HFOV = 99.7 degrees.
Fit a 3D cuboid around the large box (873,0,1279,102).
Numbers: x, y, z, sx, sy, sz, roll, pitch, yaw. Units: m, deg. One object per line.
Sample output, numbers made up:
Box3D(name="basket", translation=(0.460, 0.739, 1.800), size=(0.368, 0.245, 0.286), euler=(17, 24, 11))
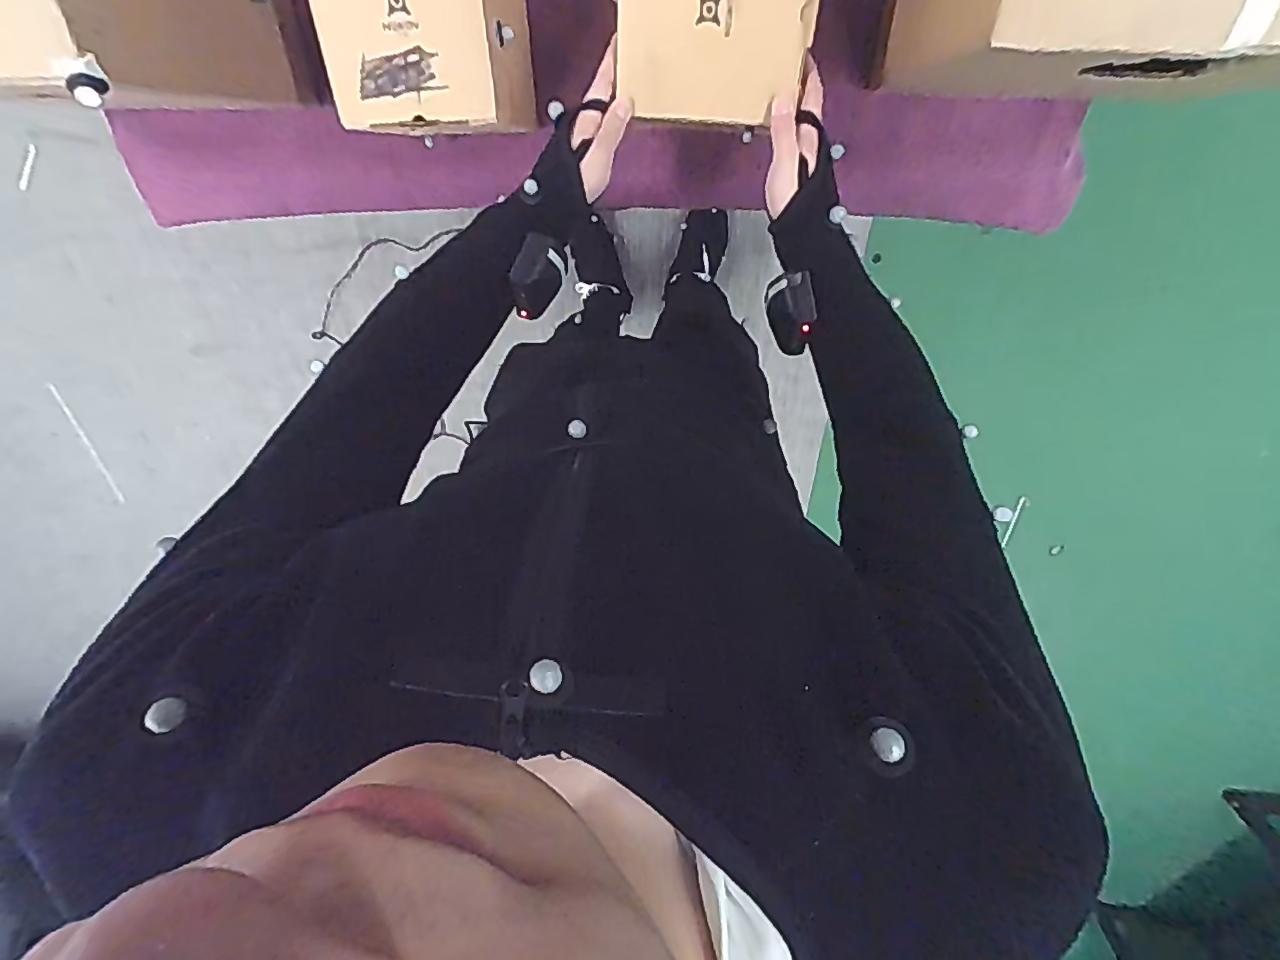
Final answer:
Box3D(name="large box", translation=(0.408, -0.530, 0.389), size=(0.320, 0.320, 0.408), euler=(4, 122, 4))
